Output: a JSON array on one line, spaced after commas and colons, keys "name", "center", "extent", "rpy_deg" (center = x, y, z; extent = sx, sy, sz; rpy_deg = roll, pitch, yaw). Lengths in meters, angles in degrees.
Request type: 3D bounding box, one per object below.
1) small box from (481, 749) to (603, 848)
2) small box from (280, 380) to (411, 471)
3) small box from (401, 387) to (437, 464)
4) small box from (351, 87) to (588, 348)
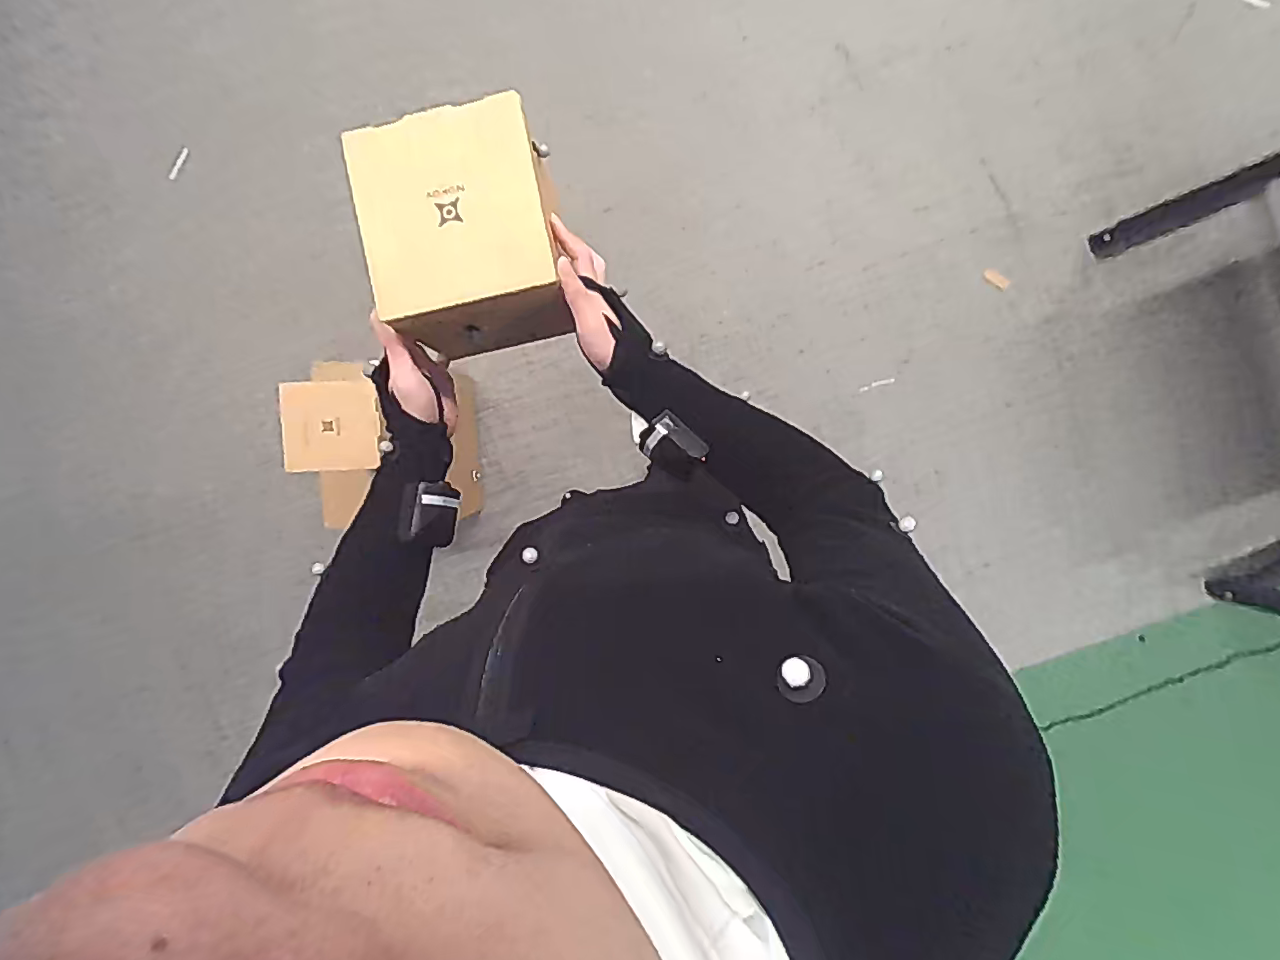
[{"name": "small box", "center": [-0.194, 0.699, 1.125], "extent": [0.179, 0.176, 0.168], "rpy_deg": [41, 93, -3]}, {"name": "small box", "center": [-0.567, -0.106, 1.067], "extent": [0.179, 0.176, 0.168], "rpy_deg": [-2, 93, -1]}, {"name": "small box", "center": [-0.579, -0.120, 1.229], "extent": [0.179, 0.176, 0.168], "rpy_deg": [0, 94, -2]}, {"name": "small box", "center": [-0.158, -0.246, 0.558], "extent": [0.168, 0.176, 0.179], "rpy_deg": [-12, 89, 3]}]
